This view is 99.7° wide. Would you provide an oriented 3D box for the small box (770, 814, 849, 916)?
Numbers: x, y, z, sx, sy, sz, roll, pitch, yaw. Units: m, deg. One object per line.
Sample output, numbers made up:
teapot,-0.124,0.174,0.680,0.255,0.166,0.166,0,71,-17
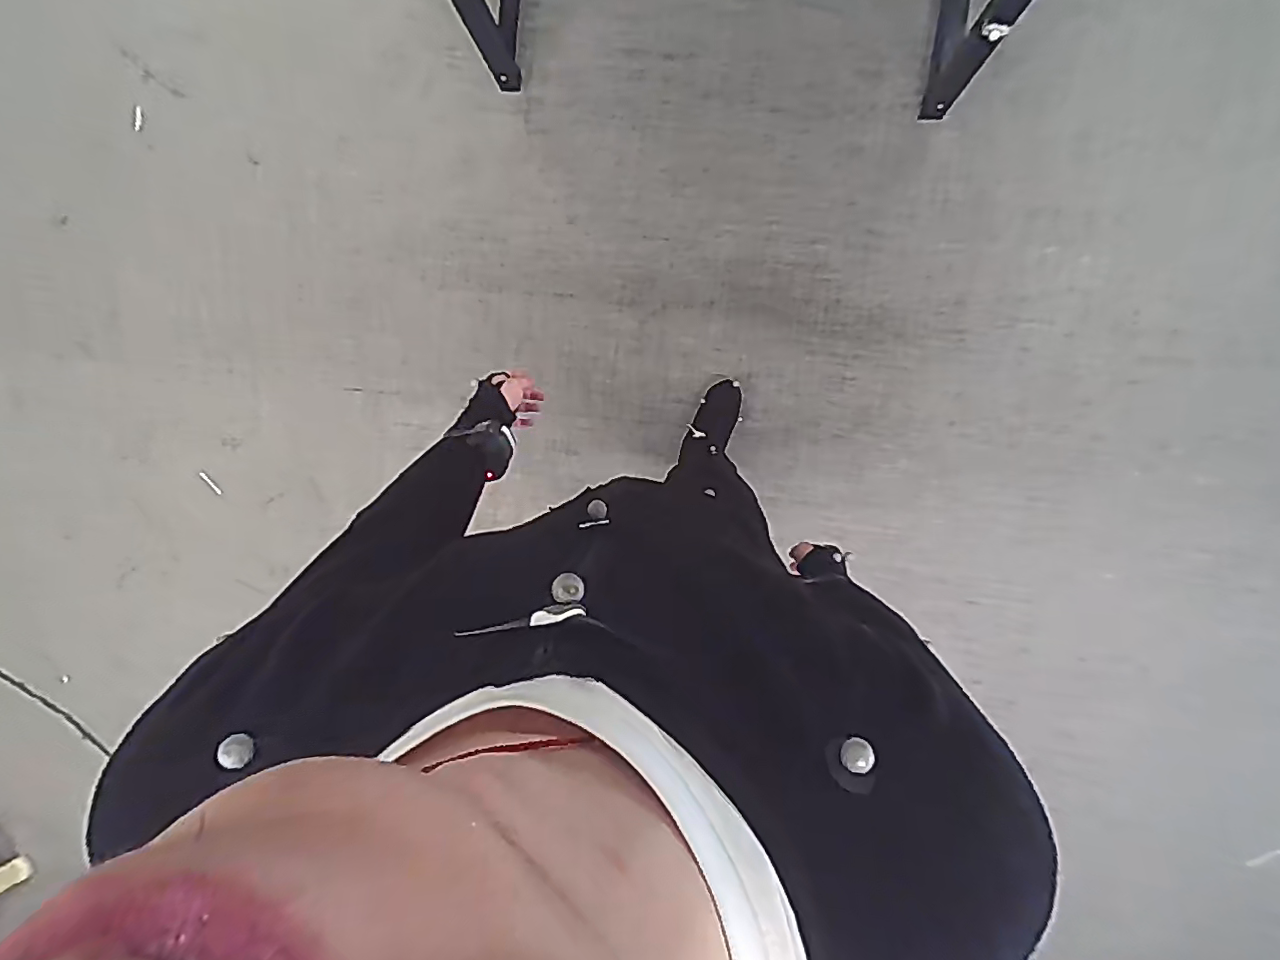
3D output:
small box,0.478,1.095,1.553,0.179,0.176,0.168,5,95,3
